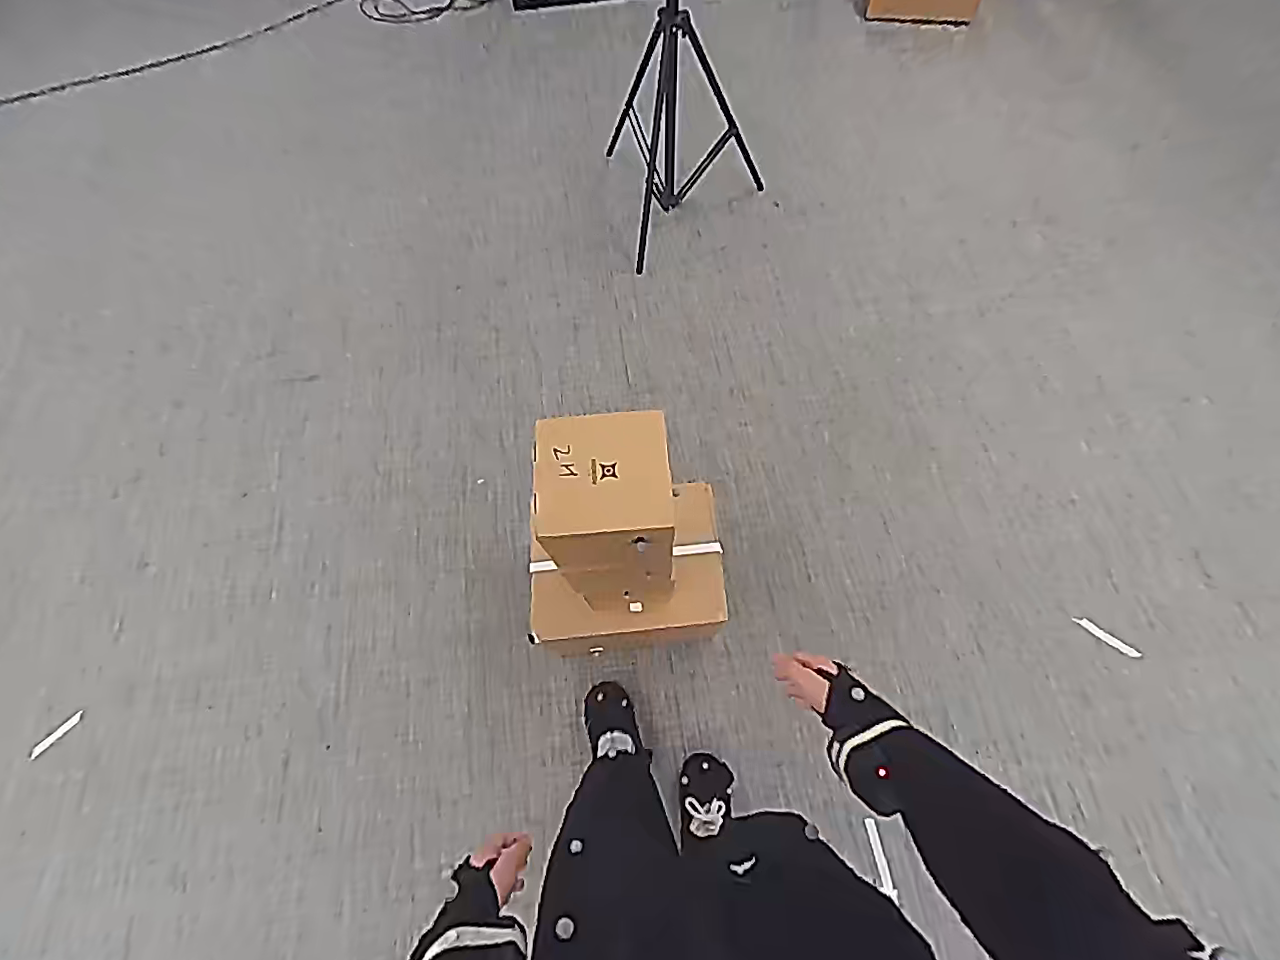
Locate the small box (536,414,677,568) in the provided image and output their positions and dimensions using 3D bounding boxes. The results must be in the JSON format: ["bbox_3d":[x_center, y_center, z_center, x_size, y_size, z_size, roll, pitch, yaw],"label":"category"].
[{"bbox_3d":[-0.045,0.022,0.766,0.179,0.176,0.168,-5,68,0],"label":"small box"}]

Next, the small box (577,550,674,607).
[{"bbox_3d":[-0.030,0.149,1.069,0.179,0.176,0.168,-8,68,-2],"label":"small box"}]
